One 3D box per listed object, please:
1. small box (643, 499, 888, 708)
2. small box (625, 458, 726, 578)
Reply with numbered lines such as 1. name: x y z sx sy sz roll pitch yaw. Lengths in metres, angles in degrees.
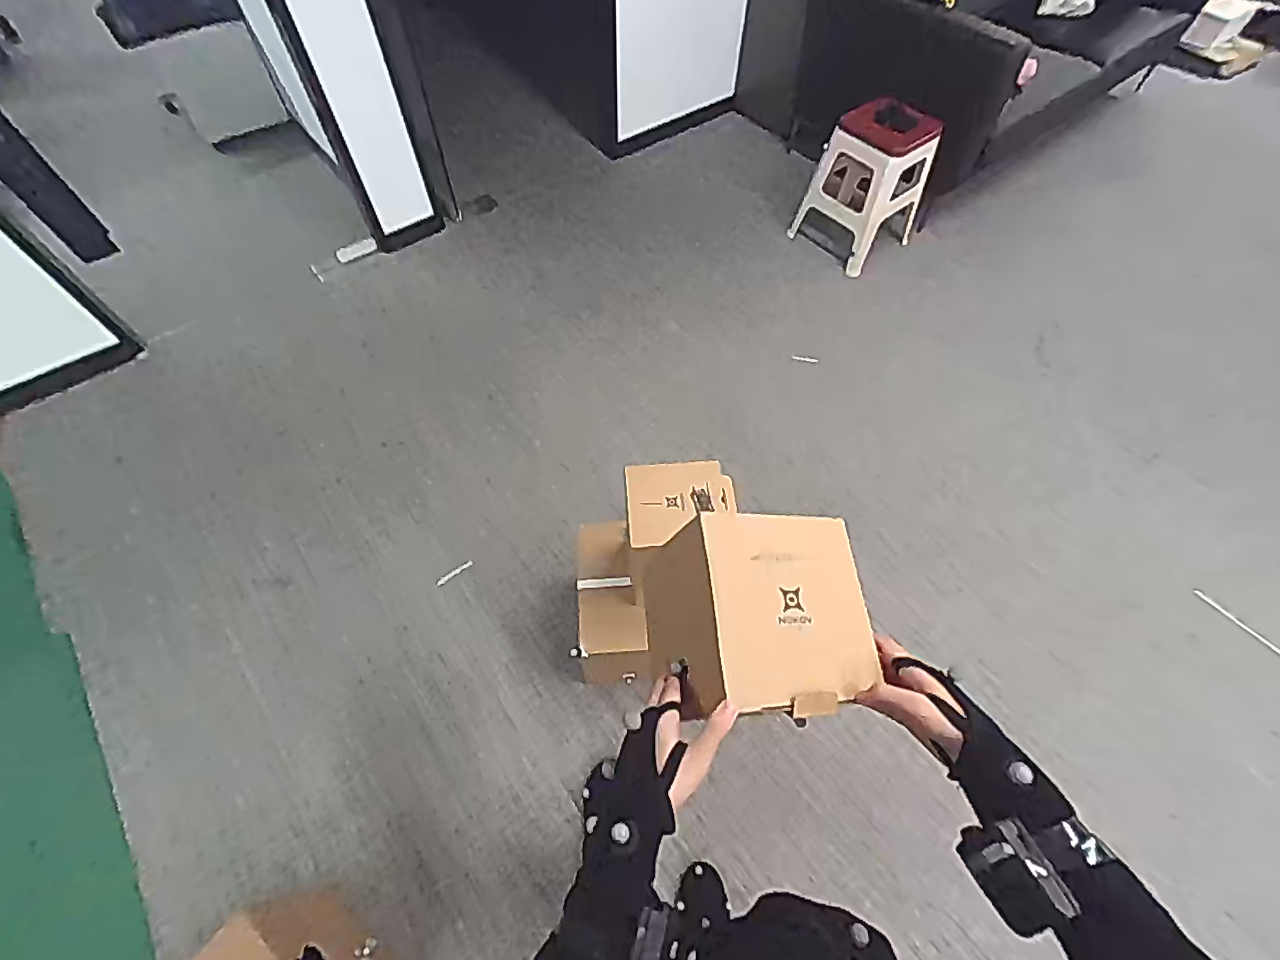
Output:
1. small box: 0.111 0.135 0.554 0.168 0.176 0.179 5 63 -20
2. small box: 0.062 0.075 1.005 0.179 0.176 0.168 -3 58 -3
